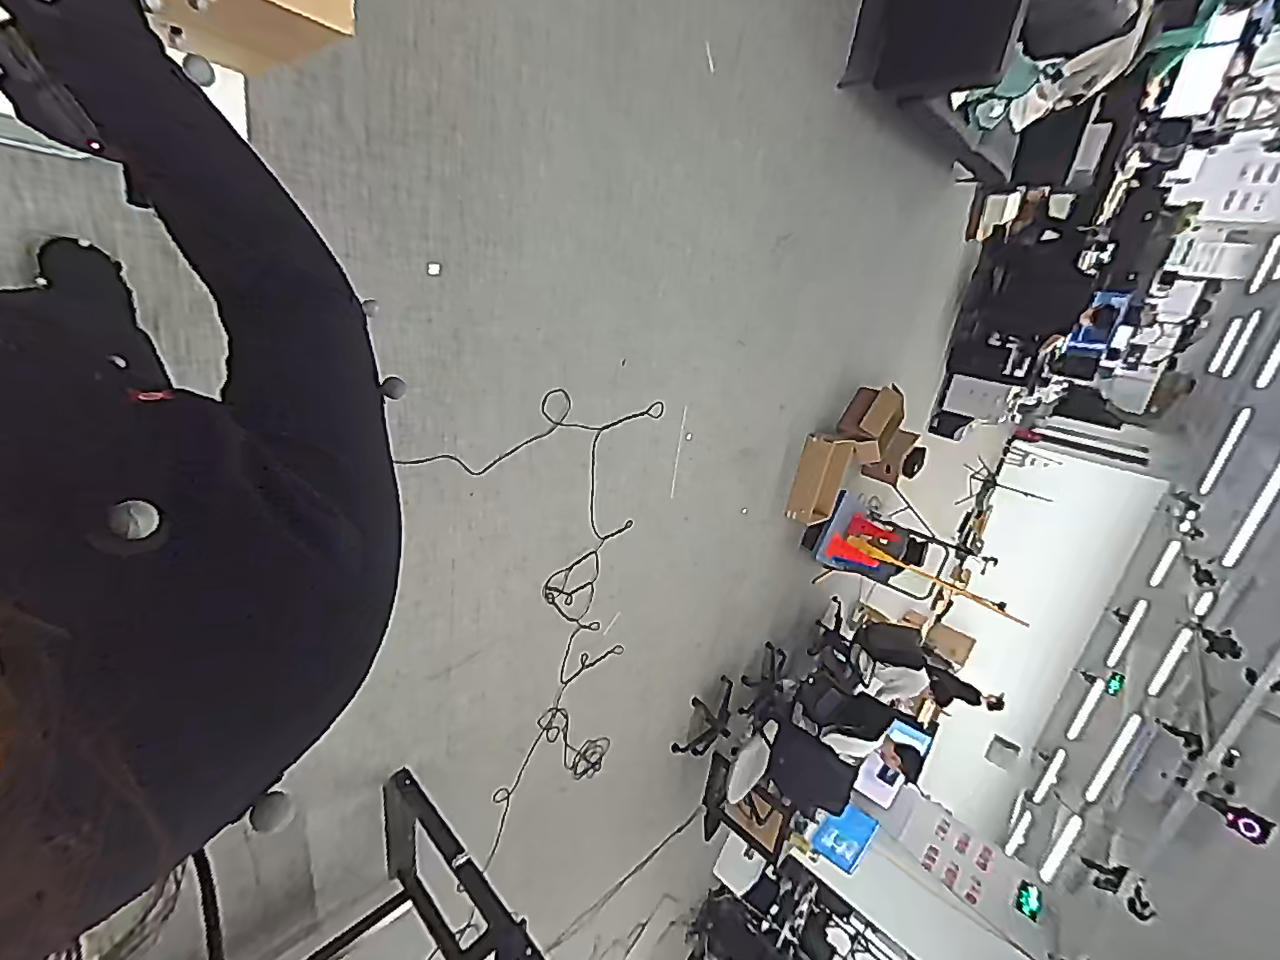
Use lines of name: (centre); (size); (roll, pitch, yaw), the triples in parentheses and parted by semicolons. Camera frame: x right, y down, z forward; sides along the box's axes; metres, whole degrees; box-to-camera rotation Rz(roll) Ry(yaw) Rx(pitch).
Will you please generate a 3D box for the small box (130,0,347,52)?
small box: (-0.355, -0.475, 0.426); (0.179, 0.176, 0.168); (-11, 117, -47)
